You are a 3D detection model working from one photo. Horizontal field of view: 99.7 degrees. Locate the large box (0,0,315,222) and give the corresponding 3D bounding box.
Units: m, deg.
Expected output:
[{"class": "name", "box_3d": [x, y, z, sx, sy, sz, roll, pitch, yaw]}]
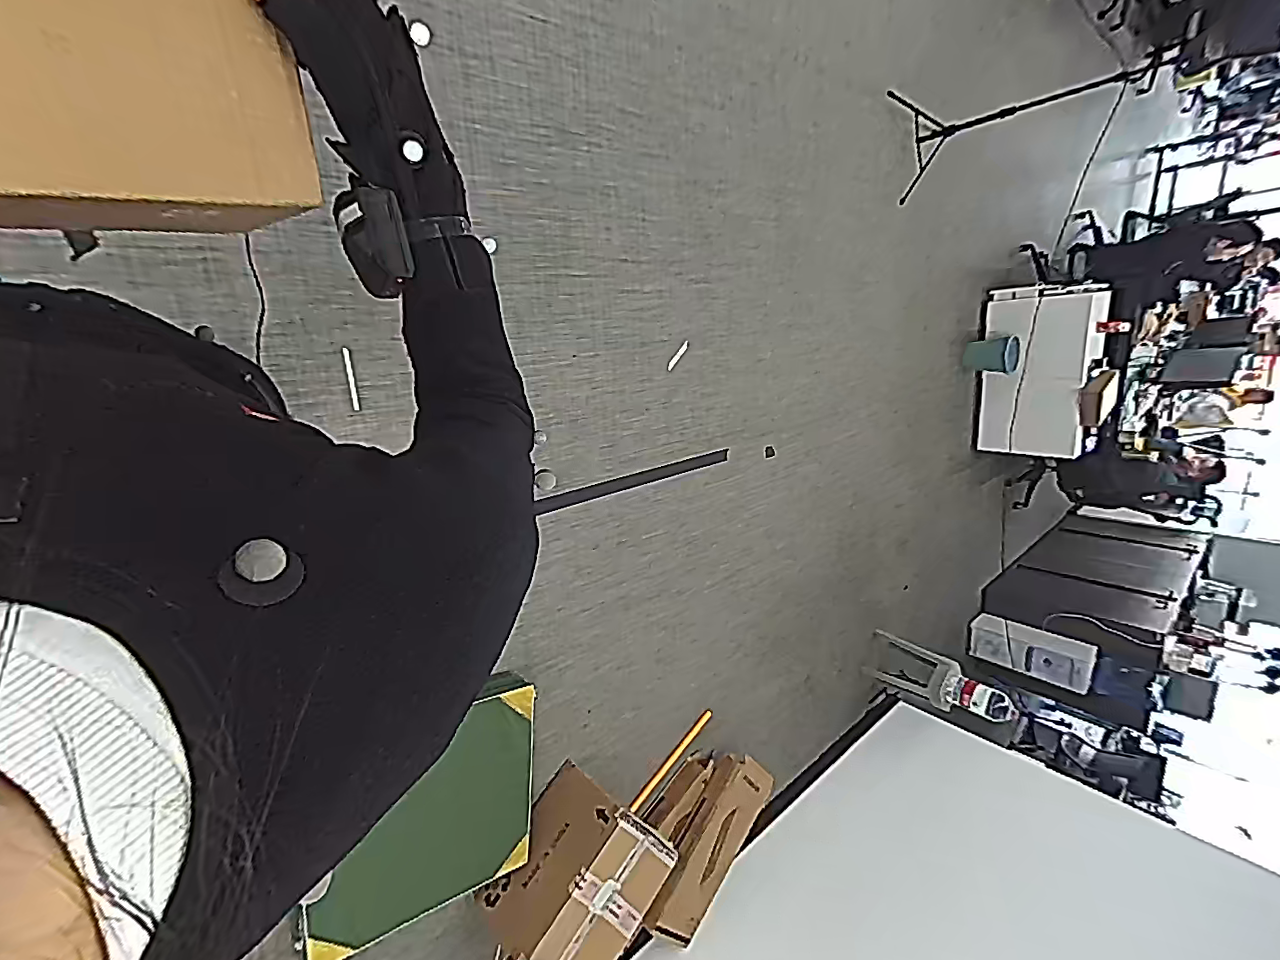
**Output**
[{"class": "large box", "box_3d": [-0.477, -0.323, 0.301, 0.408, 0.320, 0.320, -20, 120, -39]}]
